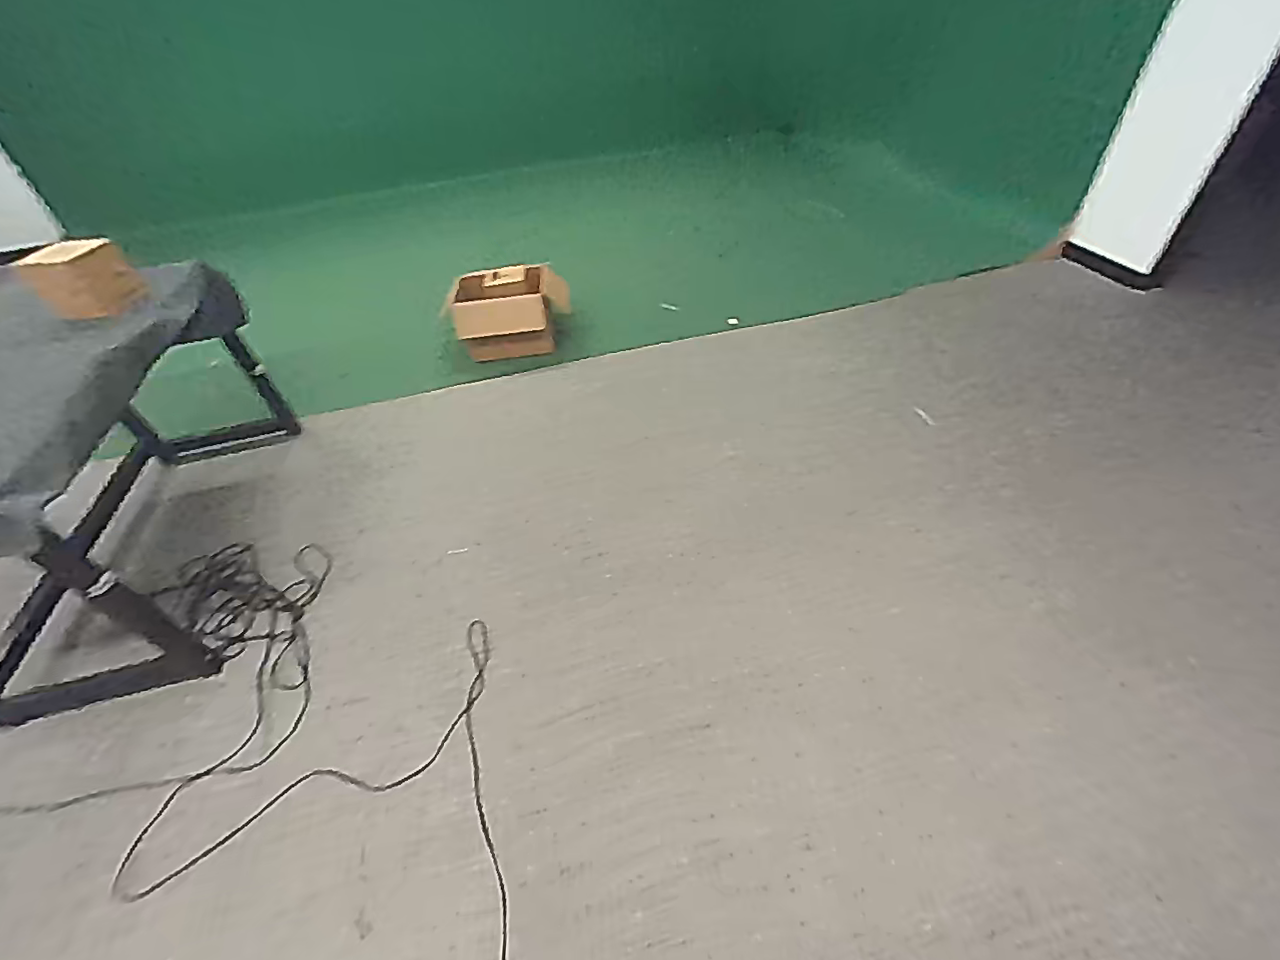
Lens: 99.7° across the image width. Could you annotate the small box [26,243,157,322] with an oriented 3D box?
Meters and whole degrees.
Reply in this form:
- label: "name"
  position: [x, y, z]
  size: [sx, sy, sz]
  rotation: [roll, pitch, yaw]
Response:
- label: "small box"
  position: [-1.619, -0.585, 1.612]
  size: [0.179, 0.176, 0.168]
  rotation: [-1, 44, 8]
